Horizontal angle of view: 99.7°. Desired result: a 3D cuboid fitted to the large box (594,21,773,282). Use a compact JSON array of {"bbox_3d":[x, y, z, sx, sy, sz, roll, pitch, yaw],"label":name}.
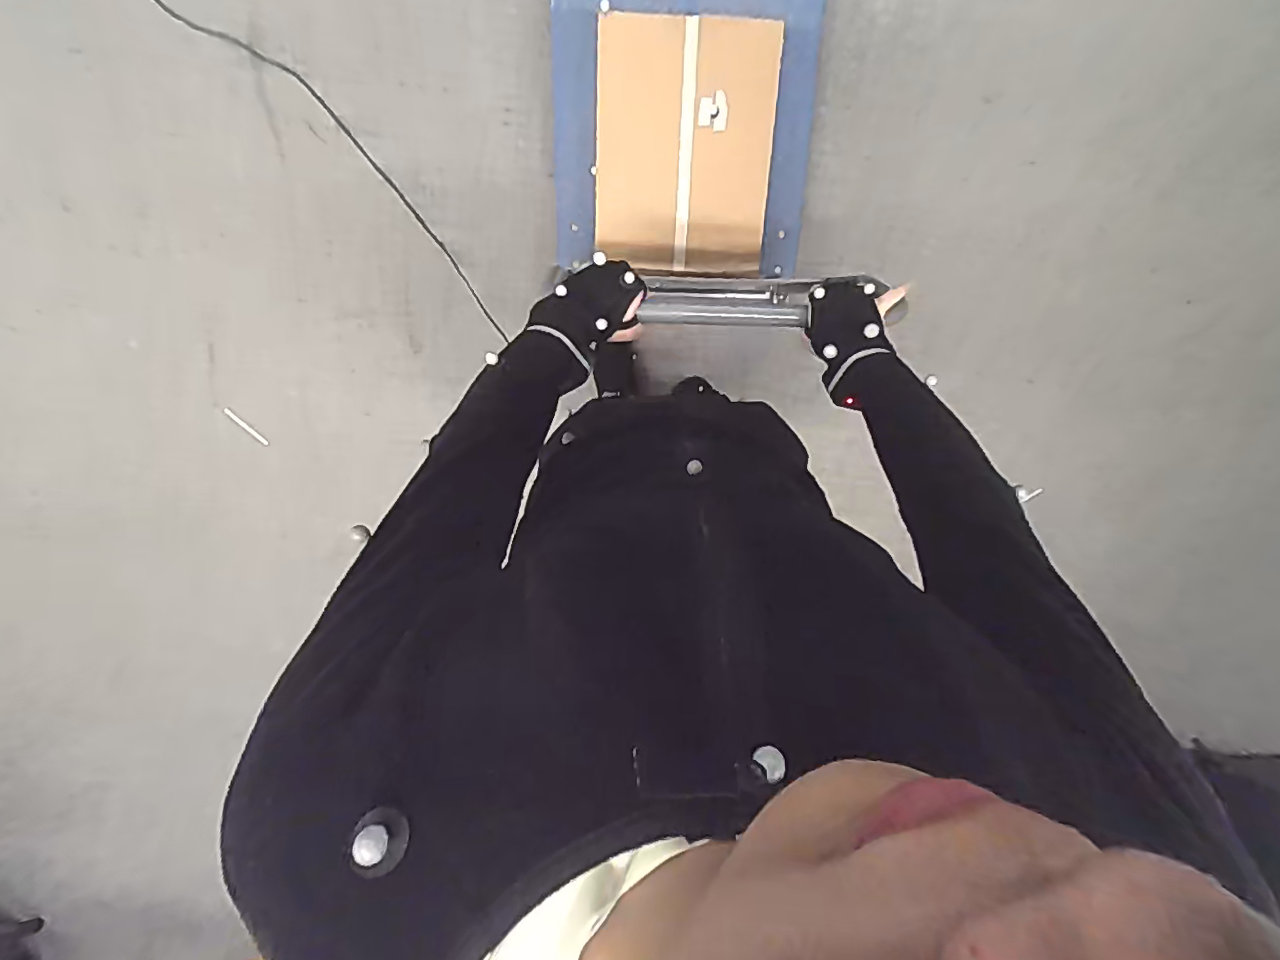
[{"bbox_3d":[0.070,-0.629,1.119,0.320,0.320,0.408,1,108,-3],"label":"large box"}]
